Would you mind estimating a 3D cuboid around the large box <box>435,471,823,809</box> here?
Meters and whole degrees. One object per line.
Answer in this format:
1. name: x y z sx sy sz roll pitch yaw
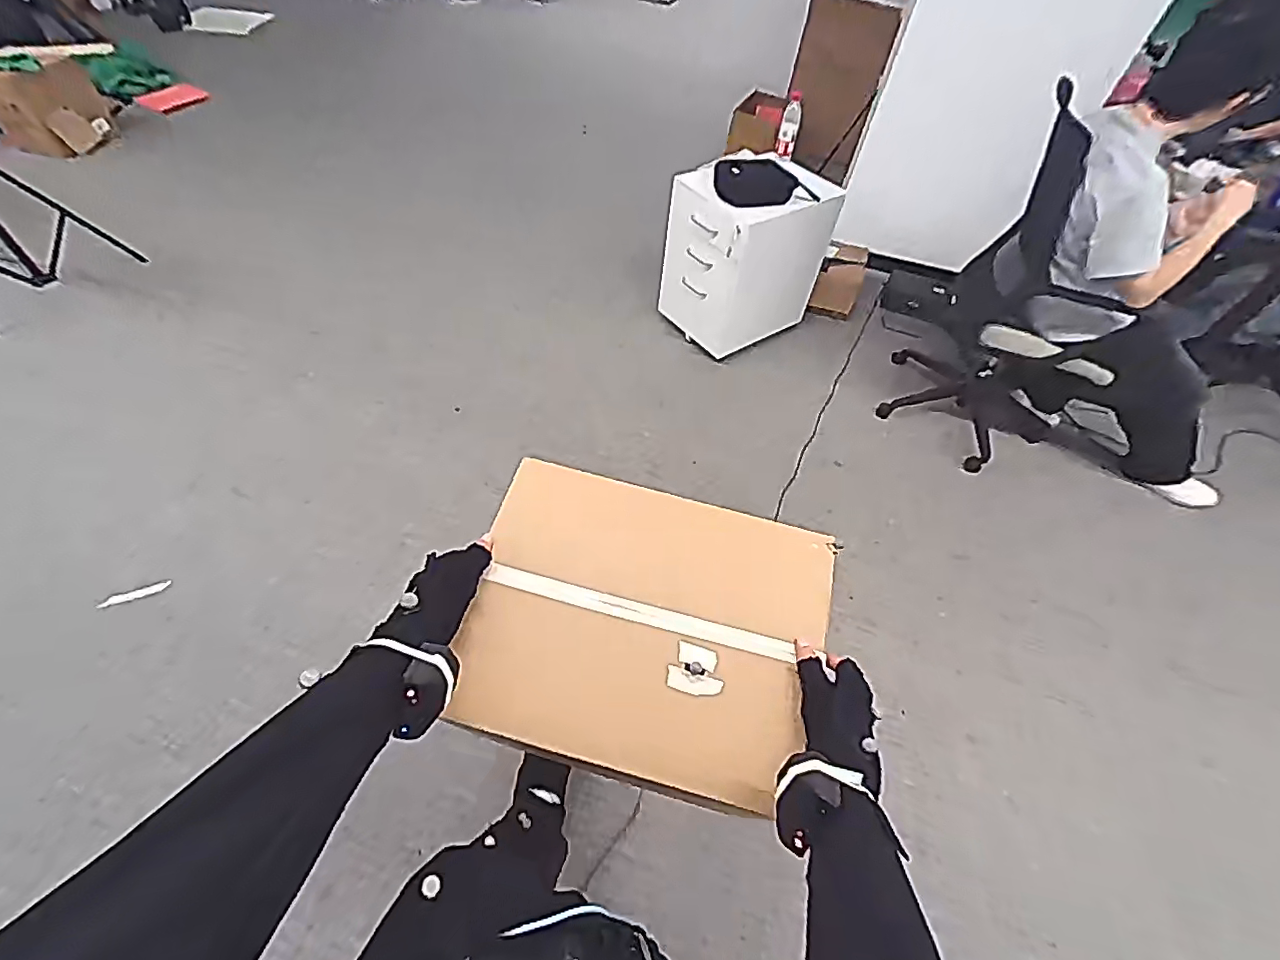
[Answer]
1. large box: -0.004 0.232 0.758 0.408 0.320 0.320 15 61 3
